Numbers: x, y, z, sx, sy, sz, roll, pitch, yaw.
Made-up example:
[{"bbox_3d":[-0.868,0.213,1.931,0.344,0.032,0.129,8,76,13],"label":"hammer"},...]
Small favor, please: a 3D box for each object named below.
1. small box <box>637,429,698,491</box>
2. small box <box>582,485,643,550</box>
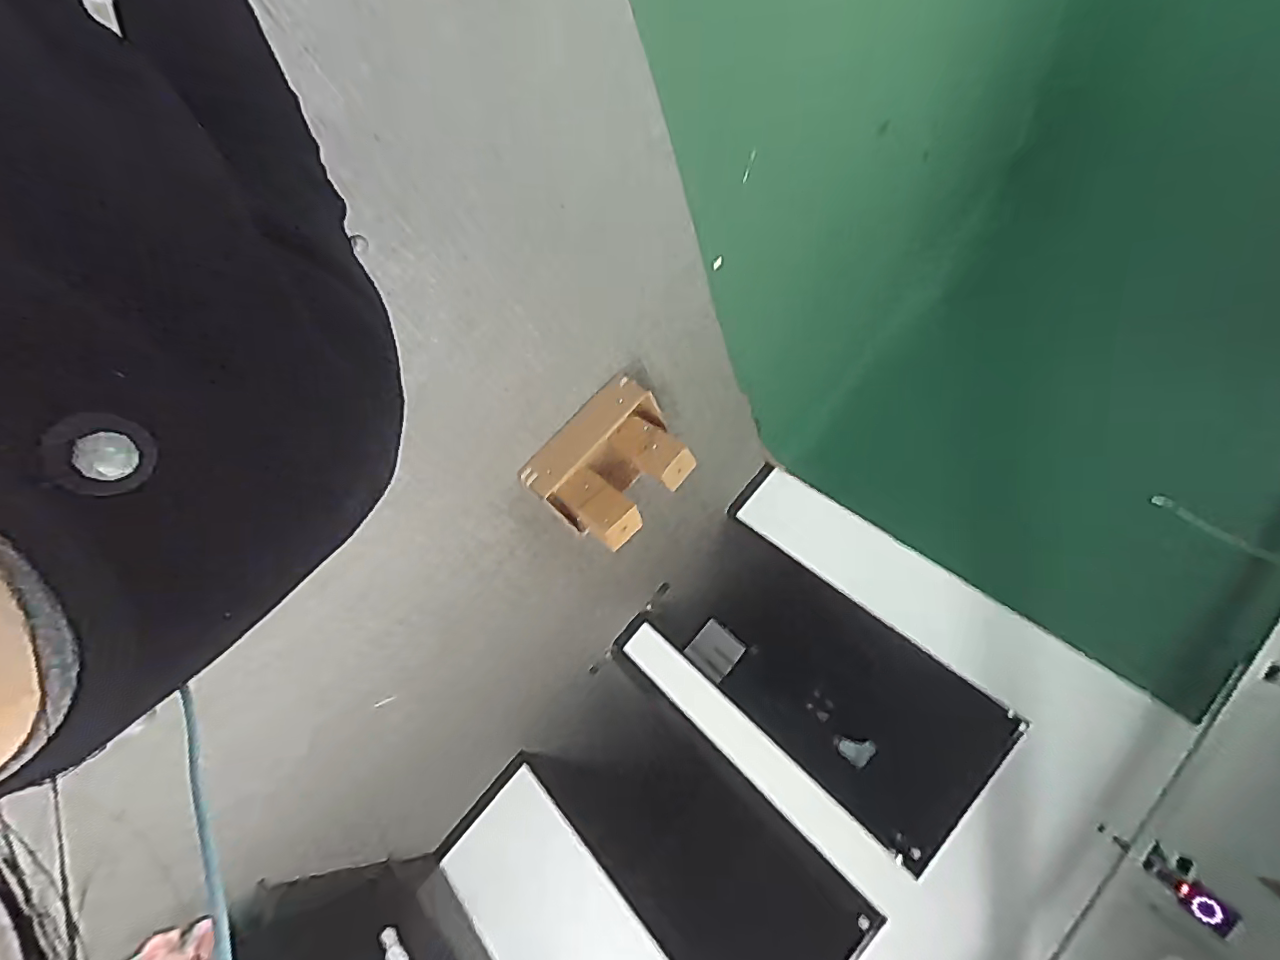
[{"bbox_3d":[0.116,-0.090,2.315,0.168,0.176,0.179,-49,147,-7],"label":"small box"},{"bbox_3d":[-0.115,0.150,2.262,0.179,0.176,0.168,-41,145,-18],"label":"small box"}]
